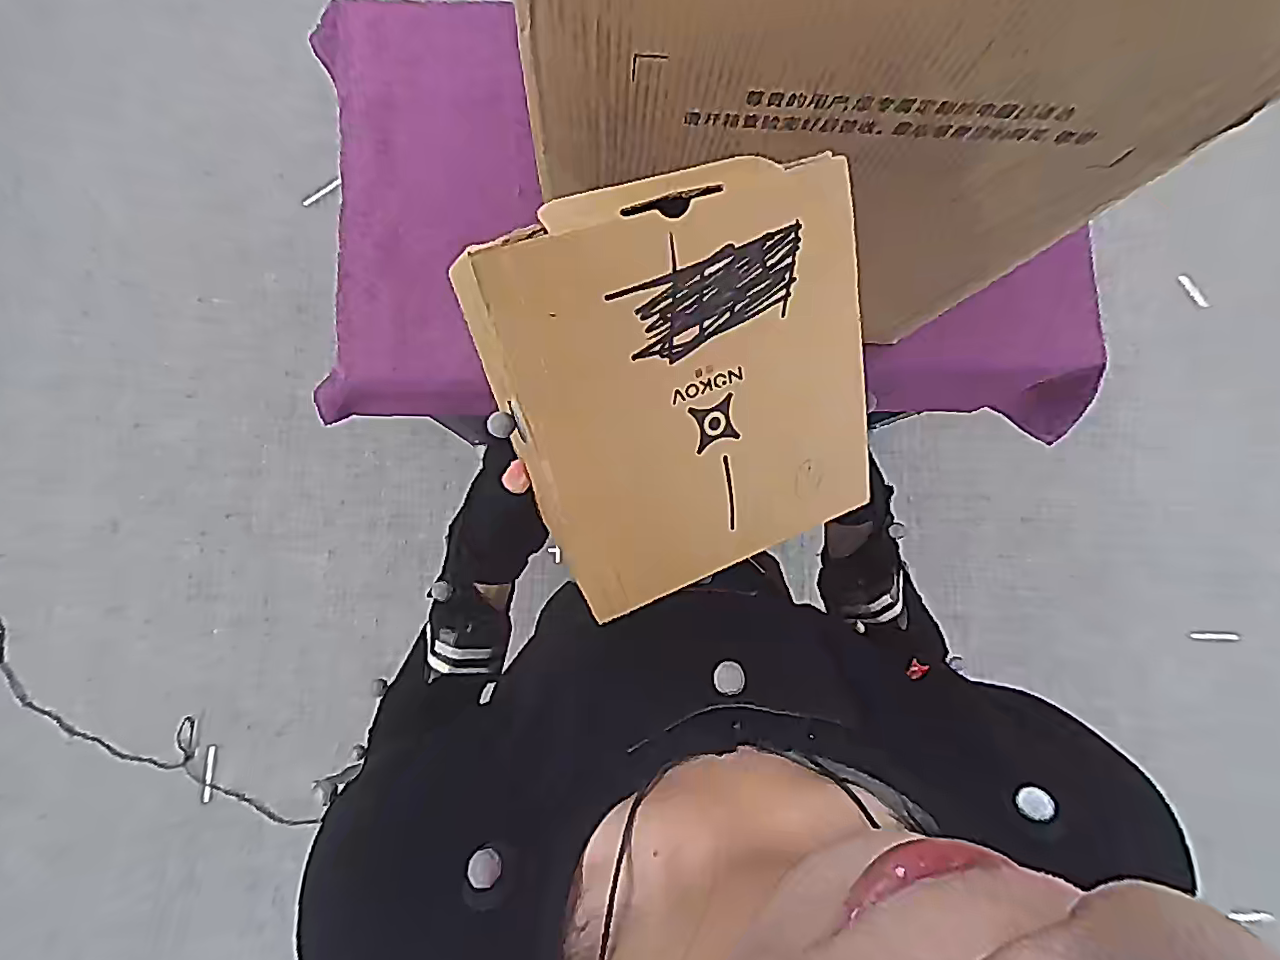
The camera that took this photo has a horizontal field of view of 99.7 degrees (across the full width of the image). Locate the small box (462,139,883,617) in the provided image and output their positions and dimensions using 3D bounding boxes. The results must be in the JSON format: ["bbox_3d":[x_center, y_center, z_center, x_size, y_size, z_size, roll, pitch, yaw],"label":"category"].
[{"bbox_3d":[0.008,-0.062,0.311,0.168,0.176,0.179,-22,113,-14],"label":"small box"}]
